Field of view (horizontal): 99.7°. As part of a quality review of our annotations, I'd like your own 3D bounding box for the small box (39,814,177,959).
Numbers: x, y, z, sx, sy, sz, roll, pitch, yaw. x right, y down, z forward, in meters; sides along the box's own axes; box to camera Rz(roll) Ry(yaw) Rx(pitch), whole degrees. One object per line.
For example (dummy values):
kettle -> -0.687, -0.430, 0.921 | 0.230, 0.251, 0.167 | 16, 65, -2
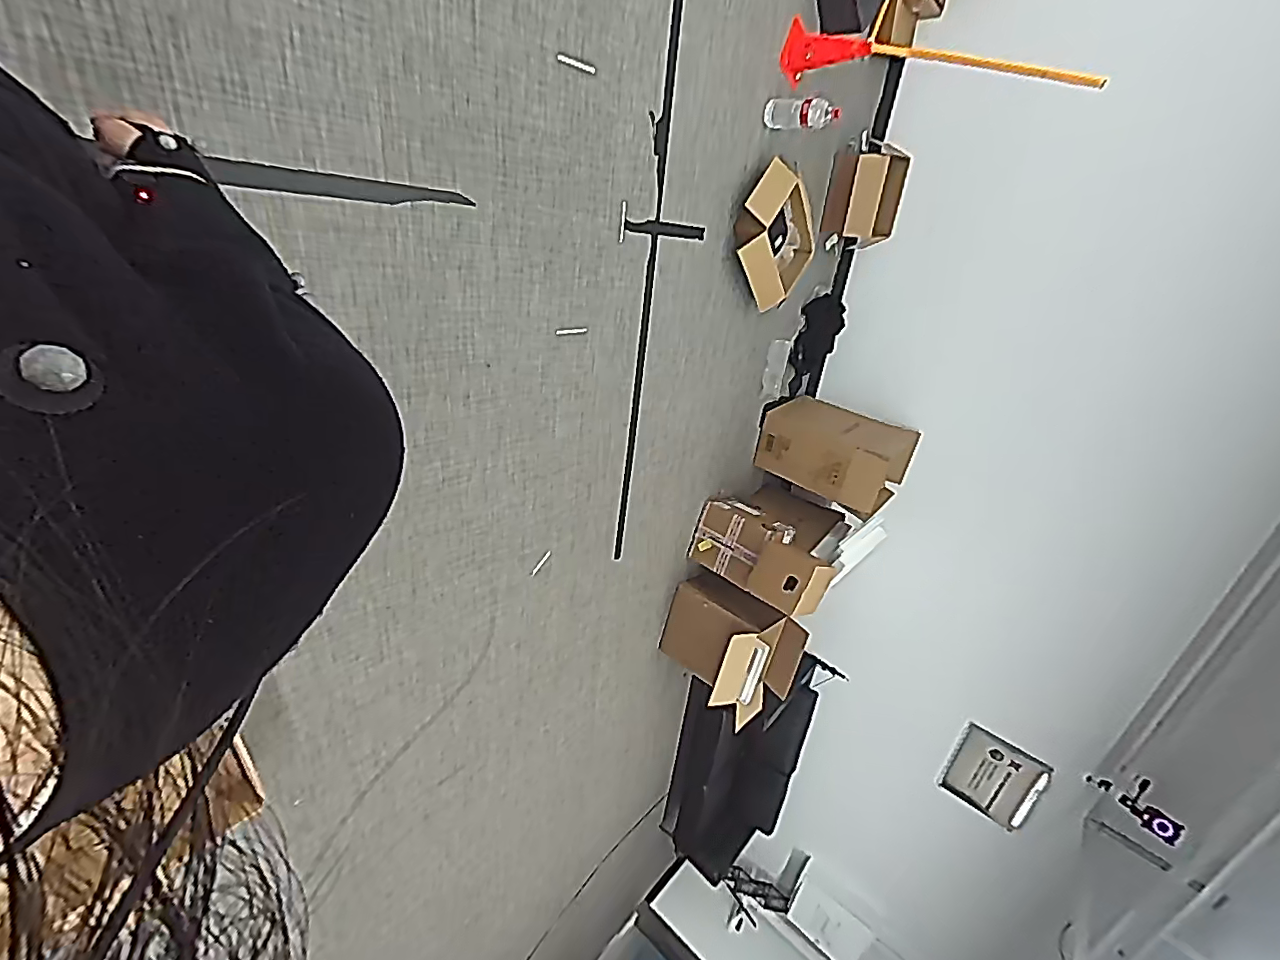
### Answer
small box -> -1.187, 0.900, 1.210 | 0.168, 0.176, 0.179 | -27, 132, -43
